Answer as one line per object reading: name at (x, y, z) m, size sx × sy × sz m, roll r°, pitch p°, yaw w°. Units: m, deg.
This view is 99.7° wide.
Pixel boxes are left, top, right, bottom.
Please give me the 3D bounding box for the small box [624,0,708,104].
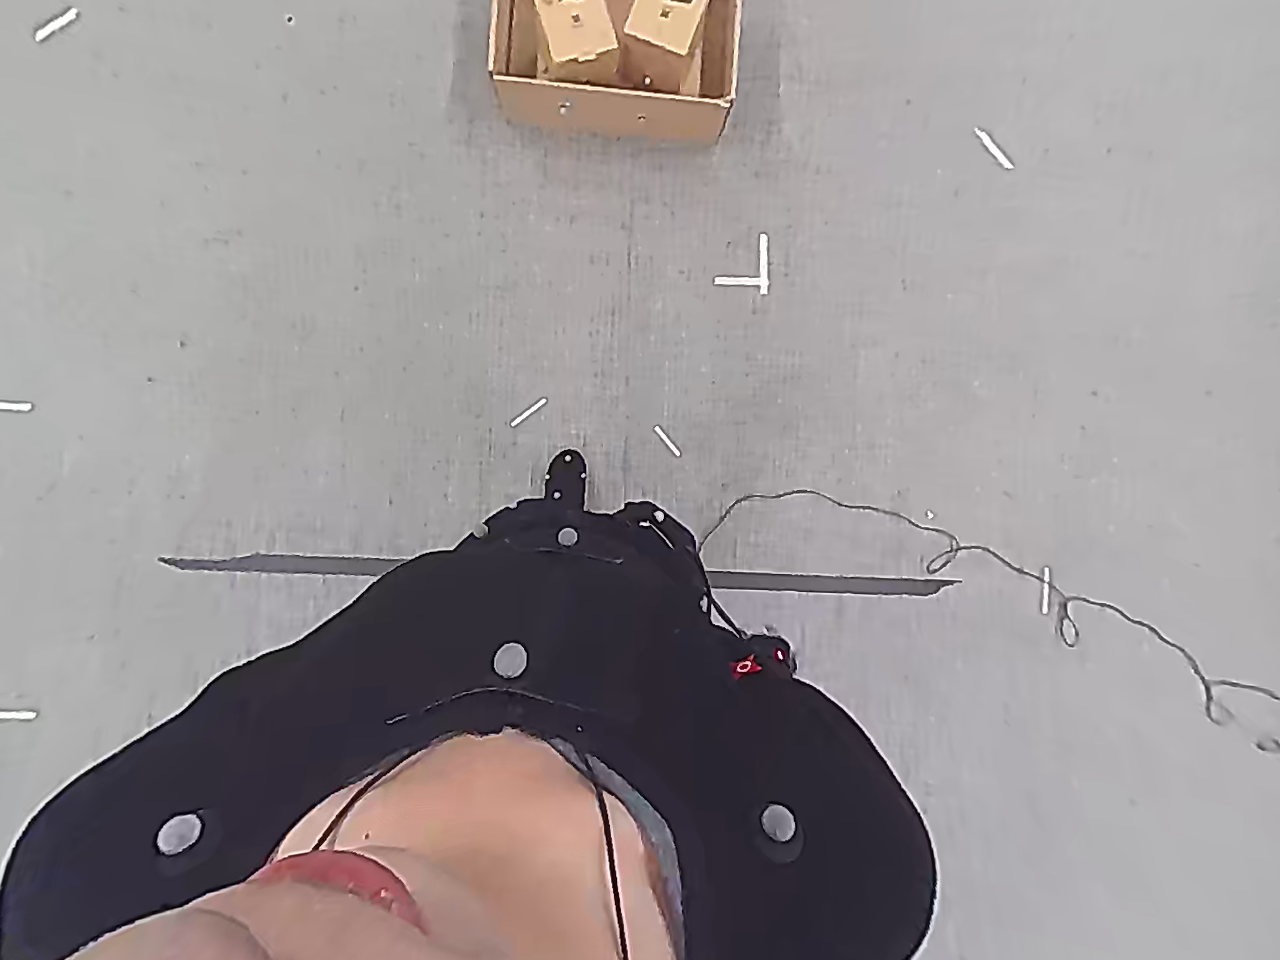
small box at (0.059, -1.140, 1.405) m, size 0.168 × 0.176 × 0.179 m, roll 21°, pitch 89°, yaw -3°
